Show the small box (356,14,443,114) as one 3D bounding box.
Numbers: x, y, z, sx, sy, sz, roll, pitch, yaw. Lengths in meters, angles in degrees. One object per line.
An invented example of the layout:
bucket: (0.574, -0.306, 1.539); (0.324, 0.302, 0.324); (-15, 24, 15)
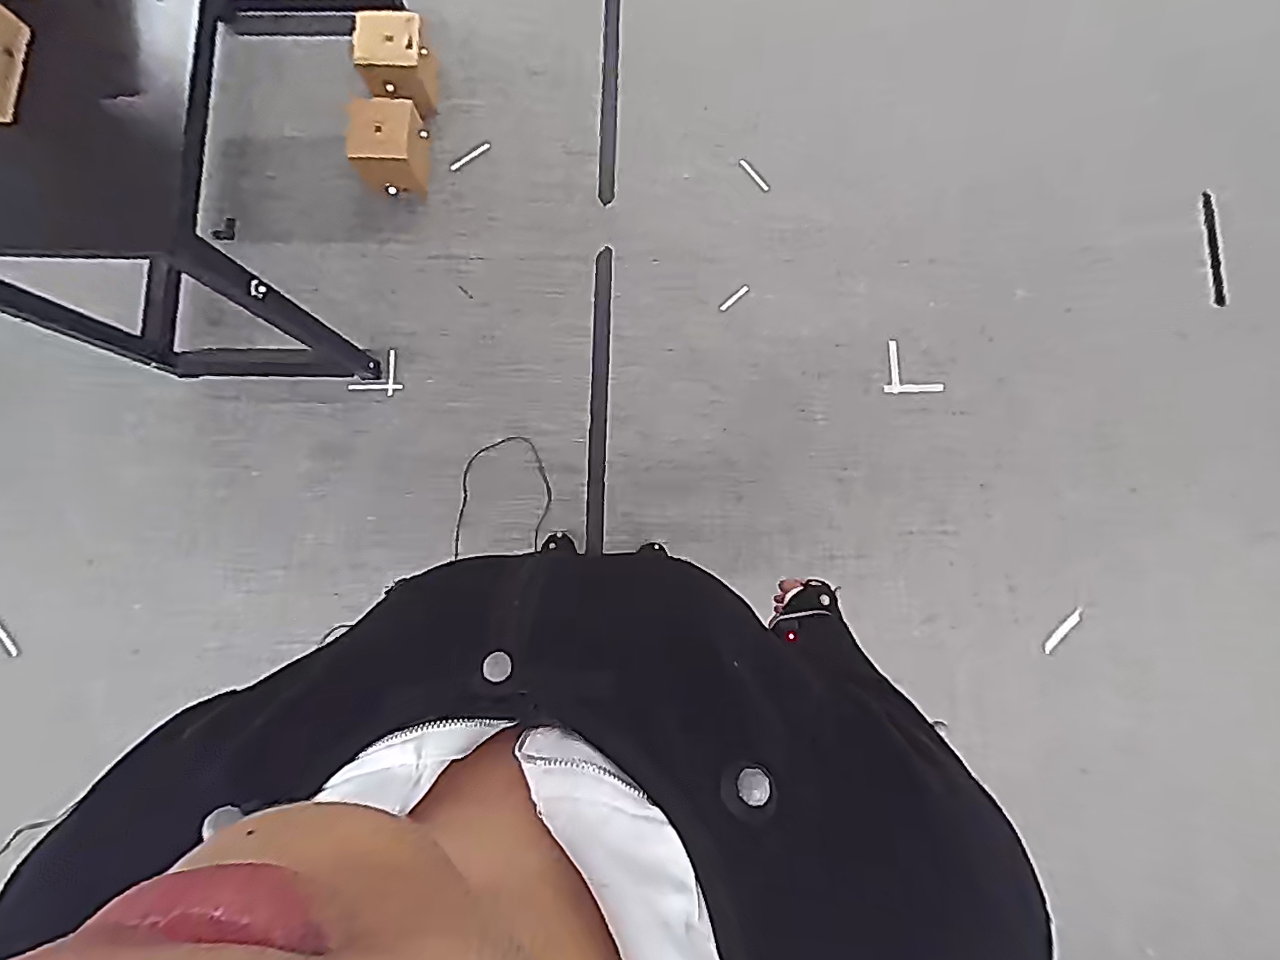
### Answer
small box: (-0.695, -1.204, 1.574); (0.179, 0.176, 0.168); (0, 85, 0)

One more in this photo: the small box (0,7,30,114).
small box: (-1.061, -0.656, 0.779); (0.179, 0.176, 0.168); (4, 83, 0)

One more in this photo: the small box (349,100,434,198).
small box: (-0.703, -0.943, 1.548); (0.168, 0.176, 0.179); (0, 85, 0)
